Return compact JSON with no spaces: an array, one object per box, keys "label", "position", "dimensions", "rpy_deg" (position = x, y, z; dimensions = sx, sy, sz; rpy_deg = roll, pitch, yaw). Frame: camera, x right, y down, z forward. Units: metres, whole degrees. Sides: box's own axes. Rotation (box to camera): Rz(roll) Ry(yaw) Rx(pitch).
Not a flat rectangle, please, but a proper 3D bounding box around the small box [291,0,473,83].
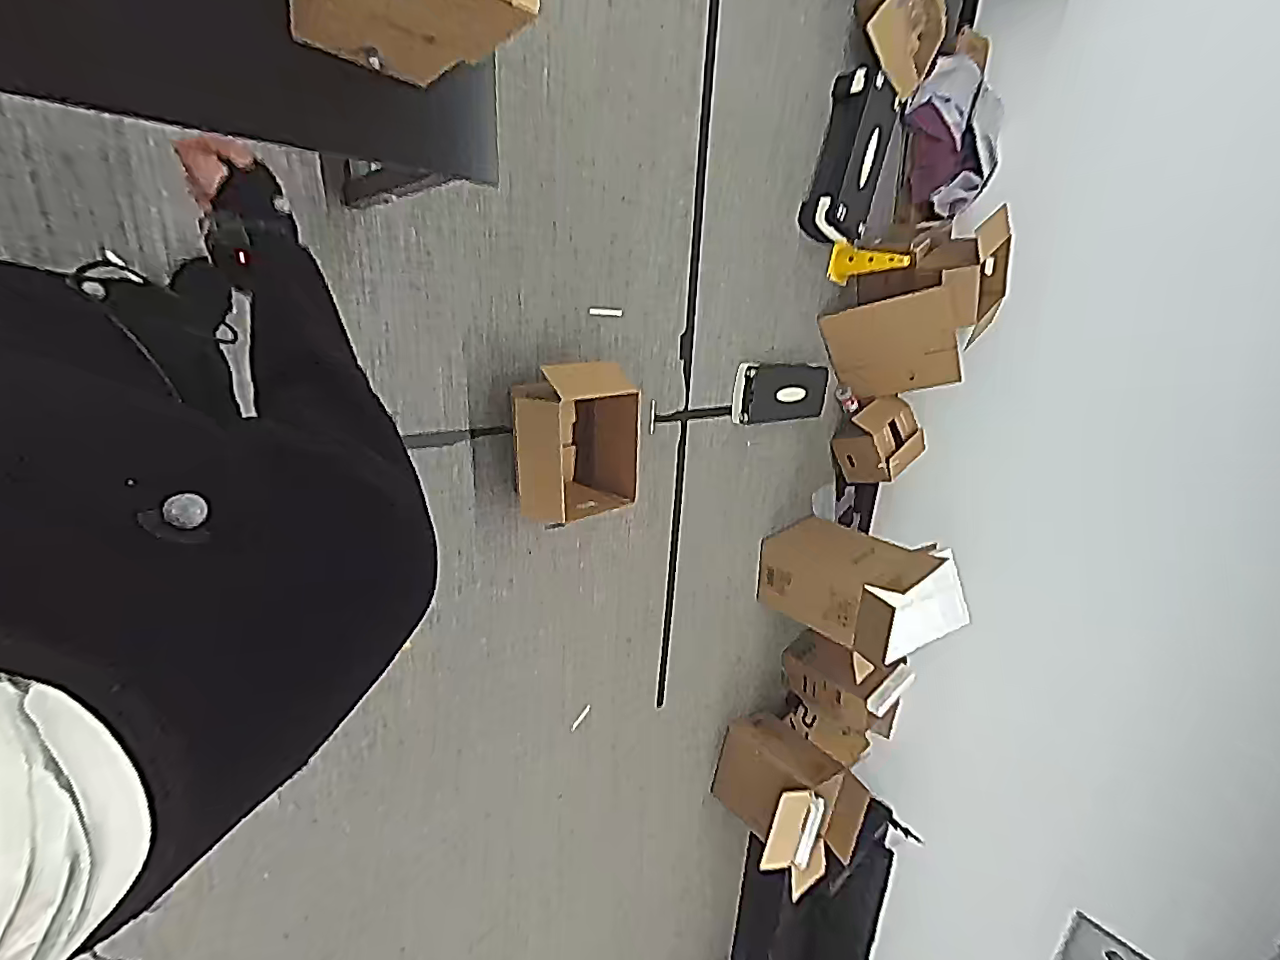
[{"label":"small box","position":[-0.311,-0.621,0.646],"dimensions":[0.168,0.176,0.179],"rpy_deg":[-6,110,-40]}]
